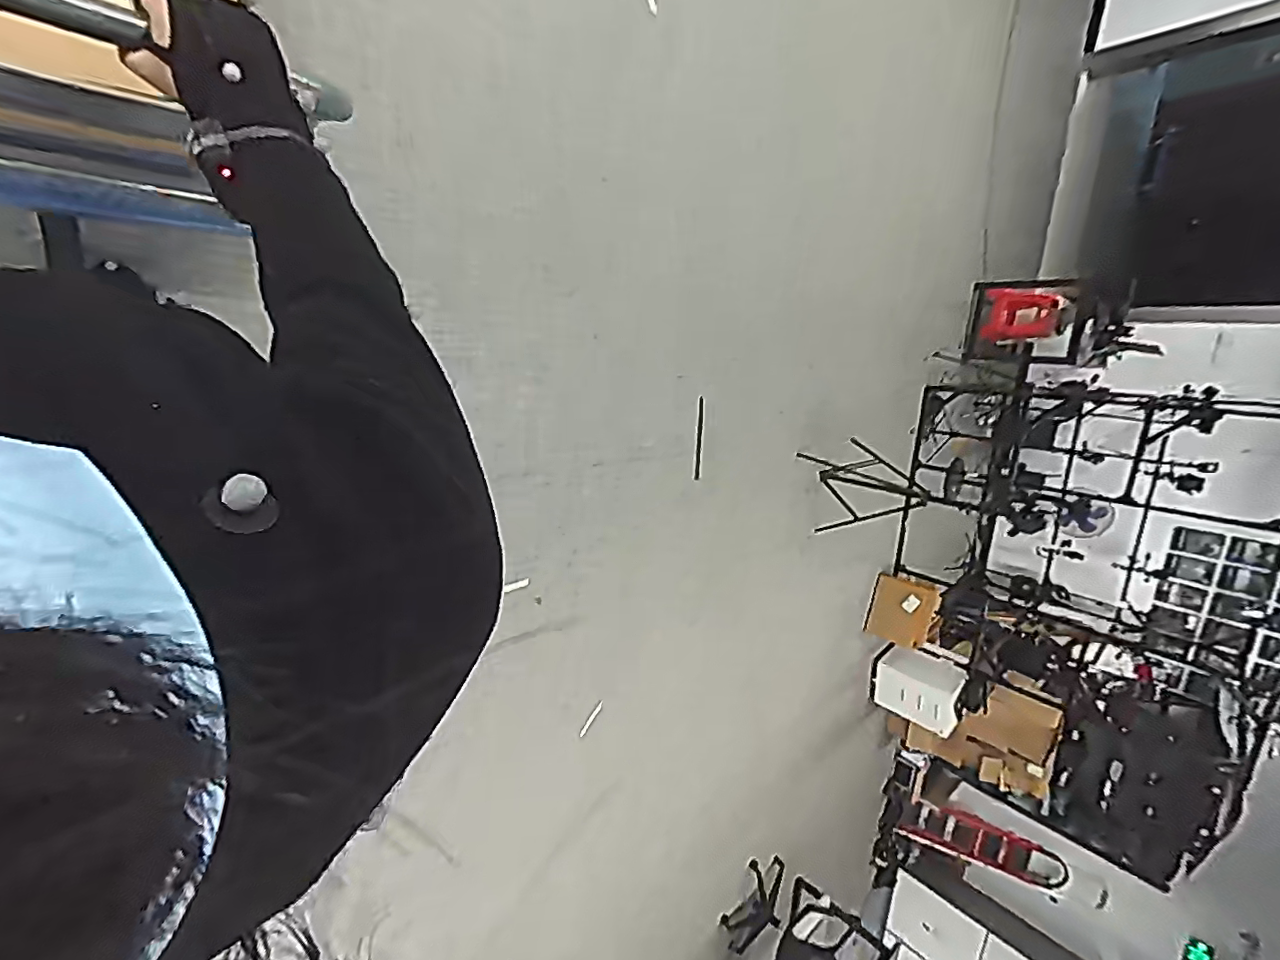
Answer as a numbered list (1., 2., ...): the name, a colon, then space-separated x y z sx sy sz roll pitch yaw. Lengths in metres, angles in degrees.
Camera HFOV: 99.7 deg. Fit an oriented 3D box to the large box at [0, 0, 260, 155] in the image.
1. large box: -0.803 -0.674 0.720 0.408 0.320 0.320 -15 112 -43
